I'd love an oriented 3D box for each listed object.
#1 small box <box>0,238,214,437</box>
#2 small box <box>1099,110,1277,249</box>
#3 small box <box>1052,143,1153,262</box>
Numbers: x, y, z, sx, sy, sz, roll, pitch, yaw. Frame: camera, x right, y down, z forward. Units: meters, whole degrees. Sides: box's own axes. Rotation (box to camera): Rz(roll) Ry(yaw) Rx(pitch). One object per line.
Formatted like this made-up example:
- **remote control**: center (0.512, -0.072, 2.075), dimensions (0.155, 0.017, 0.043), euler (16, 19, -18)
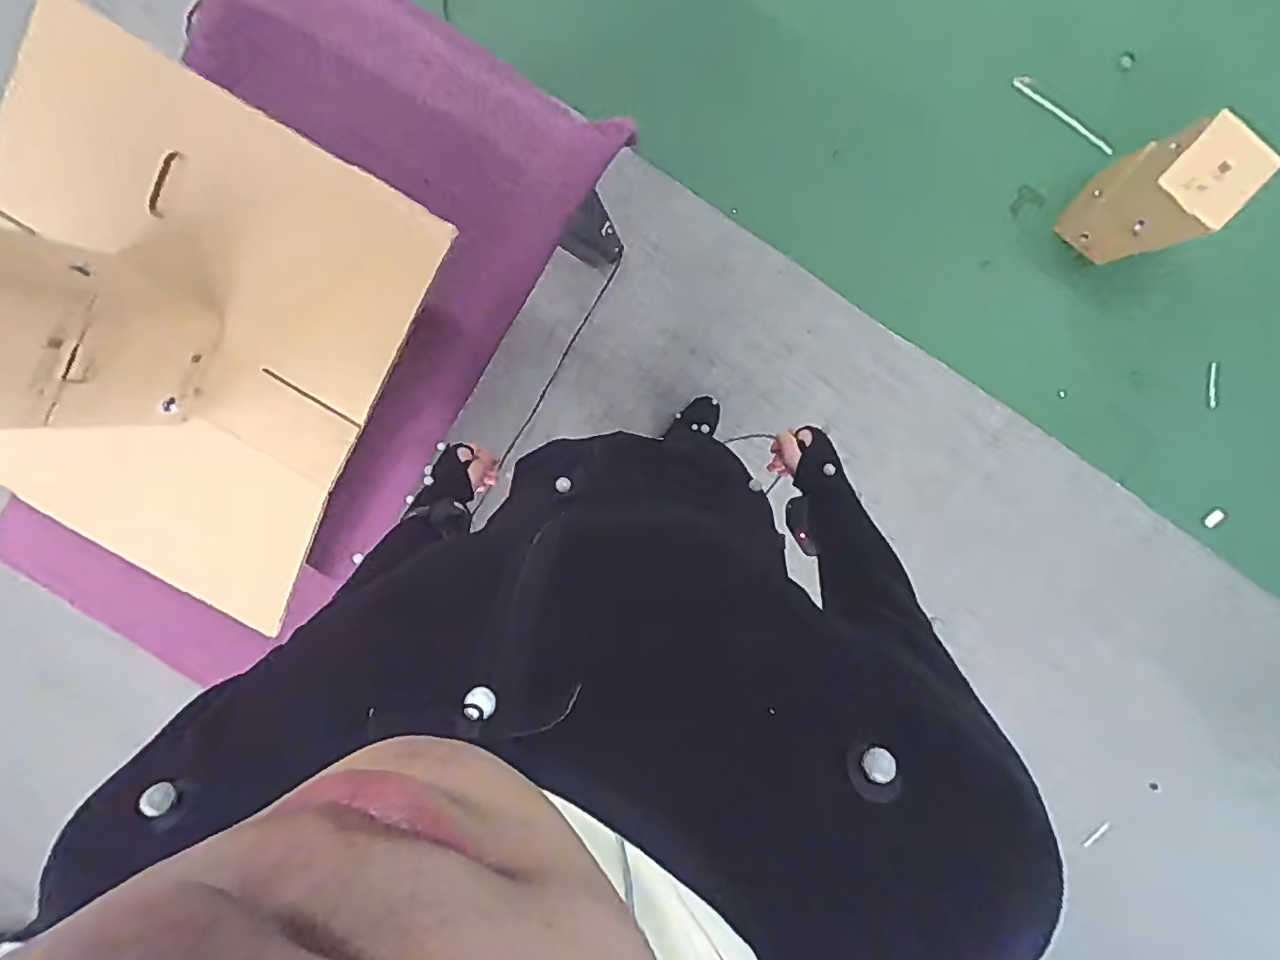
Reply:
- **small box**: center (-0.678, -0.169, 0.653), dimensions (0.179, 0.176, 0.168), euler (30, 98, 0)
- **small box**: center (1.173, -0.639, 1.176), dimensions (0.168, 0.176, 0.179), euler (39, 101, -3)
- **small box**: center (1.186, -0.673, 1.336), dimensions (0.168, 0.176, 0.179), euler (37, 101, -2)
